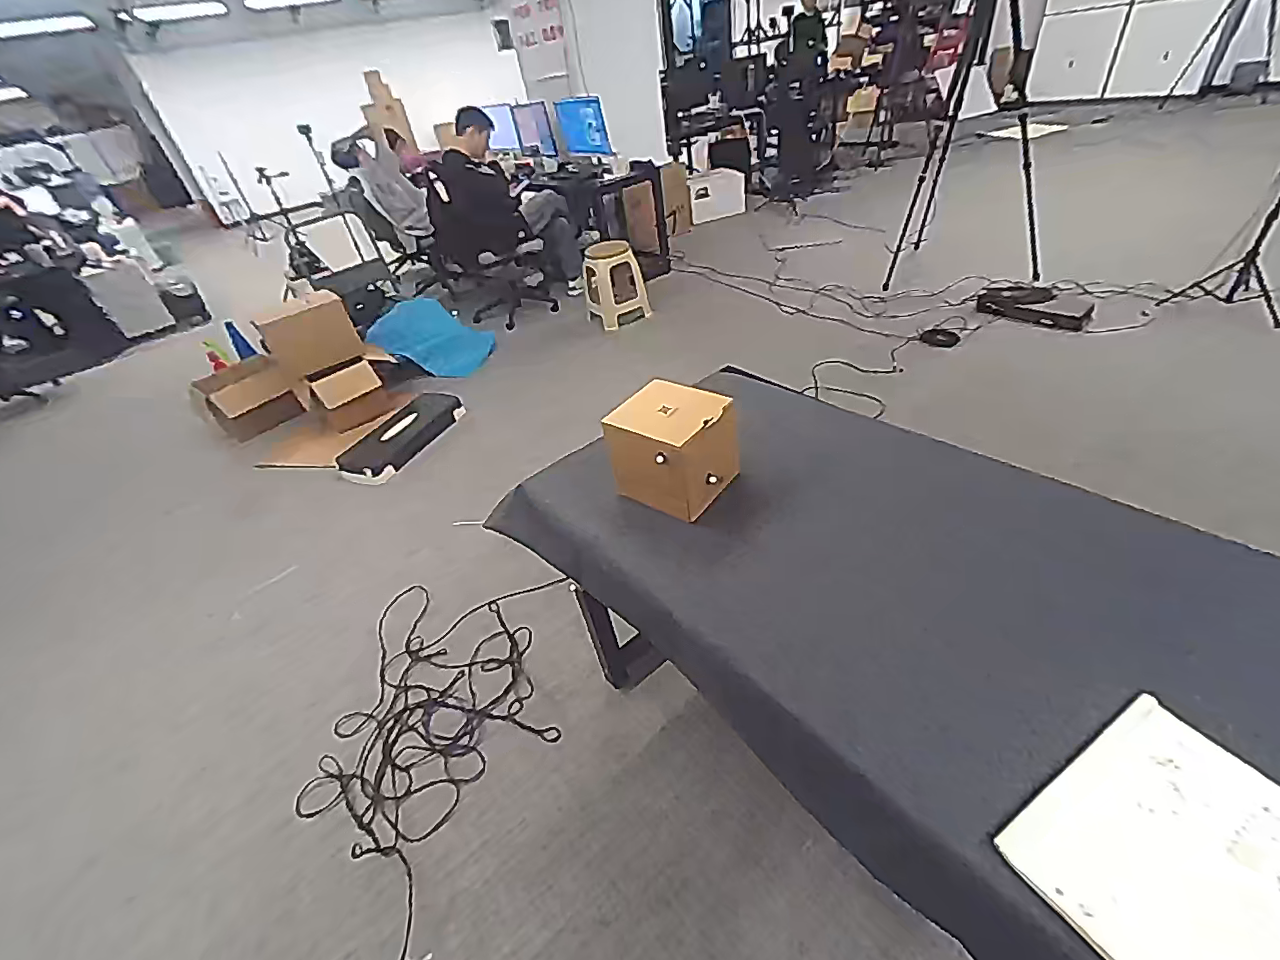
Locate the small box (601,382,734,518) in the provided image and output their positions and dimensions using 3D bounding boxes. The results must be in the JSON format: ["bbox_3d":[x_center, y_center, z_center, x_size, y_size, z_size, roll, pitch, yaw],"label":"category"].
[{"bbox_3d":[0.057,-0.055,0.986,0.179,0.176,0.168,20,47,33],"label":"small box"}]
